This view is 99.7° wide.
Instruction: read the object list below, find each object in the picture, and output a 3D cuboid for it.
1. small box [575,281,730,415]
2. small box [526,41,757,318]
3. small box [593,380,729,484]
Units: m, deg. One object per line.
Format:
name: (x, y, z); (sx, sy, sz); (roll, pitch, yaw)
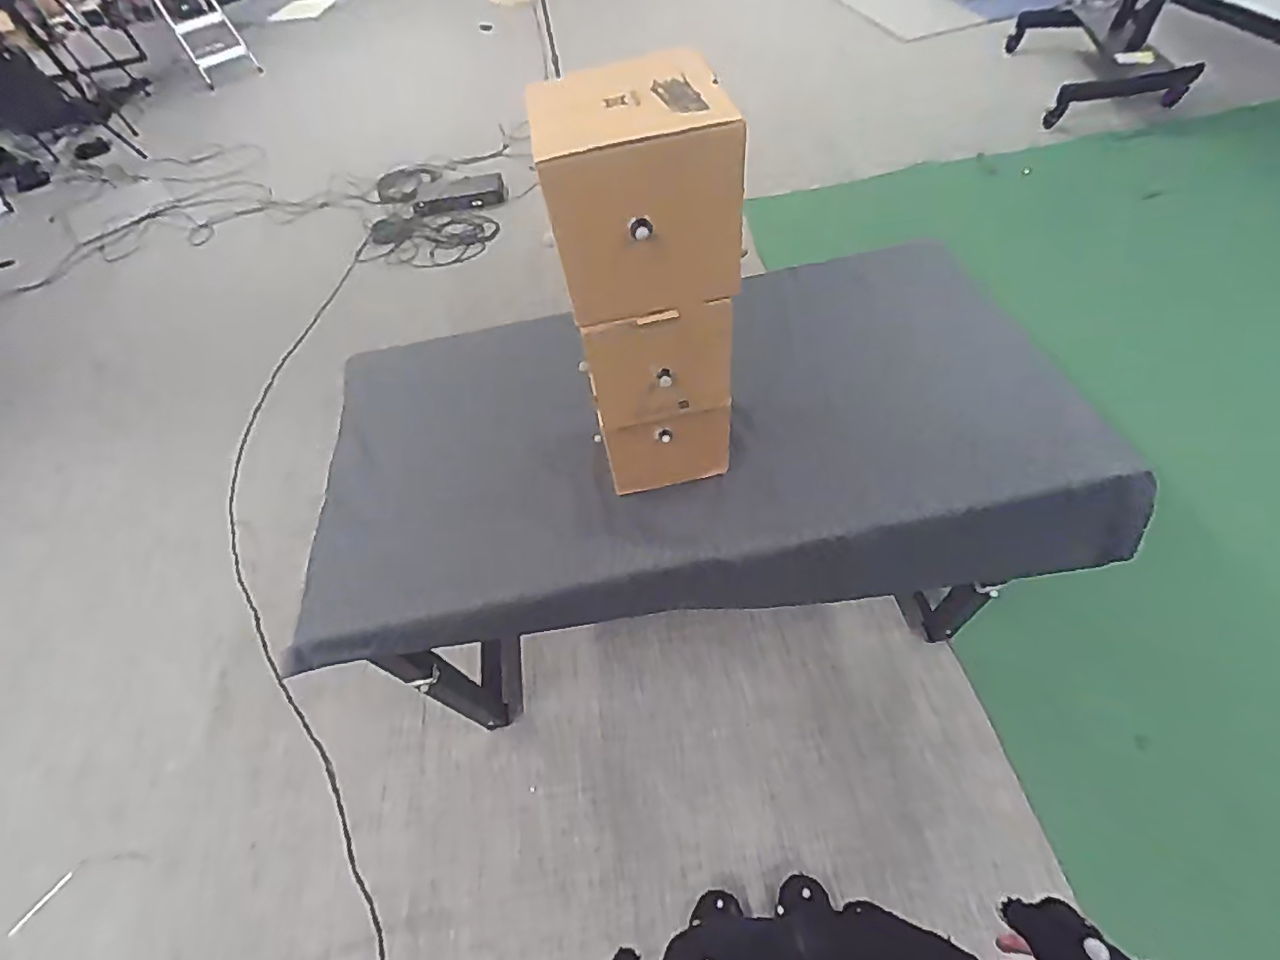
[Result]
small box: (0.011, -0.199, 0.671); (0.168, 0.176, 0.179); (-12, 56, 0)
small box: (-0.001, -0.288, 0.533); (0.179, 0.176, 0.168); (-13, 56, -2)
small box: (0.029, -0.112, 0.809); (0.179, 0.176, 0.168); (-11, 56, -1)
